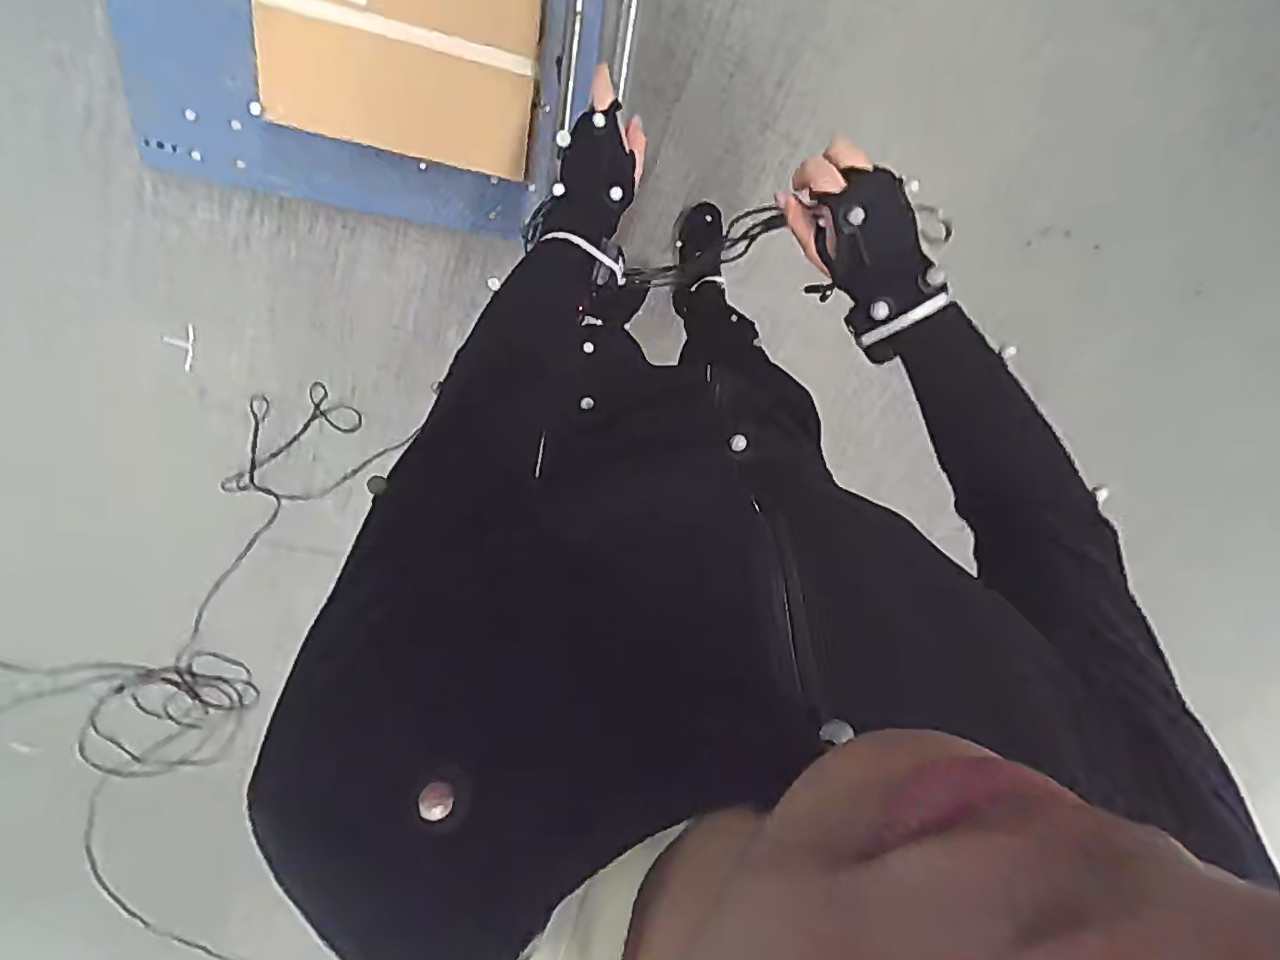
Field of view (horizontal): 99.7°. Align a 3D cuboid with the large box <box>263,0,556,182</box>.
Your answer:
[{"bbox_3d":[-0.370,-0.739,0.954,0.408,0.320,0.320,9,115,-11],"label":"large box"}]
